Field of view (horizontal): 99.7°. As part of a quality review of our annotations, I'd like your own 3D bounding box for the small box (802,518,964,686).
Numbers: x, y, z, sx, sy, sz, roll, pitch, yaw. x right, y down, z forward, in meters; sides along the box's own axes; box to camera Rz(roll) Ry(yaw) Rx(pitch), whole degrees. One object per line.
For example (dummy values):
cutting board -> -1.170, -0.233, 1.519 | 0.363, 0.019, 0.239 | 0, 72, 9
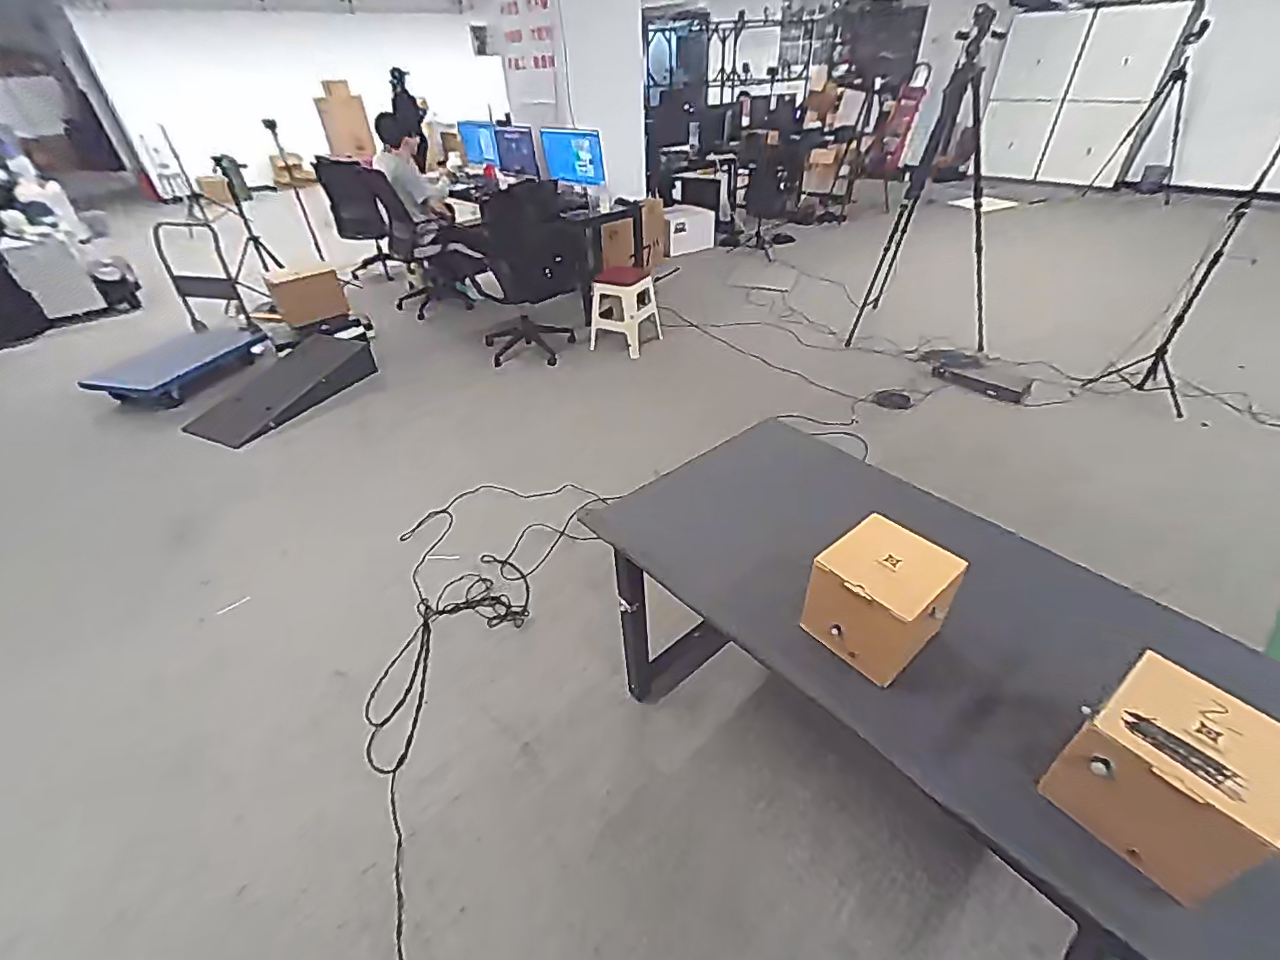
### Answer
small box -> 0.393, 0.201, 0.903 | 0.179, 0.176, 0.168 | -27, 45, -30
